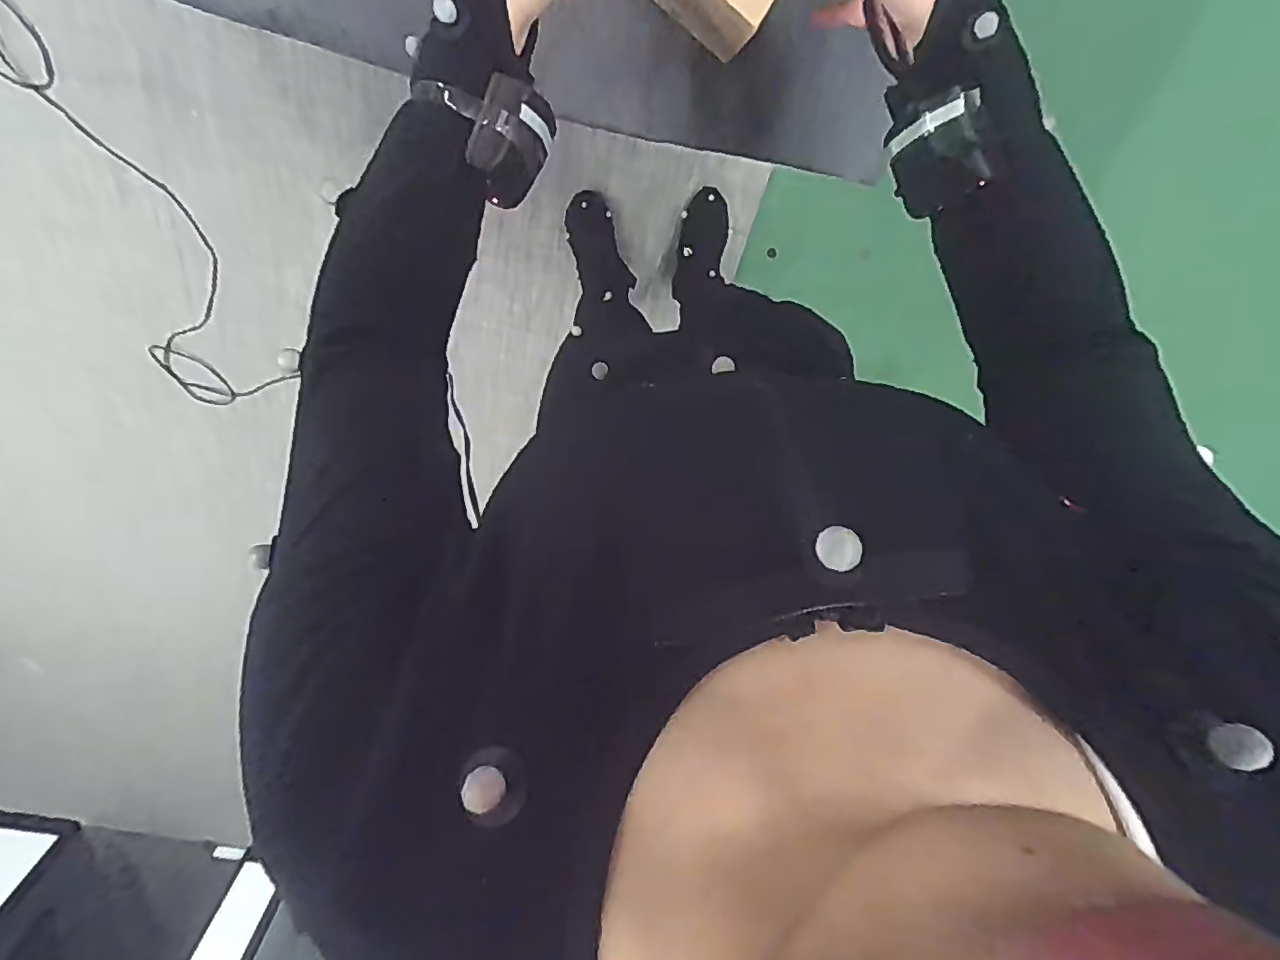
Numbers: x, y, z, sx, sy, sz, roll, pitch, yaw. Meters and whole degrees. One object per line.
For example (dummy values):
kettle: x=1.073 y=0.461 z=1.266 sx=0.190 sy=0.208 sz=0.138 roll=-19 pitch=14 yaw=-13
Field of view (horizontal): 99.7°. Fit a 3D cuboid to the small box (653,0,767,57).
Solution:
small box: x=0.057 y=-0.444 z=0.378 sx=0.168 sy=0.176 sz=0.179 roll=30 pitch=117 yaw=-17
